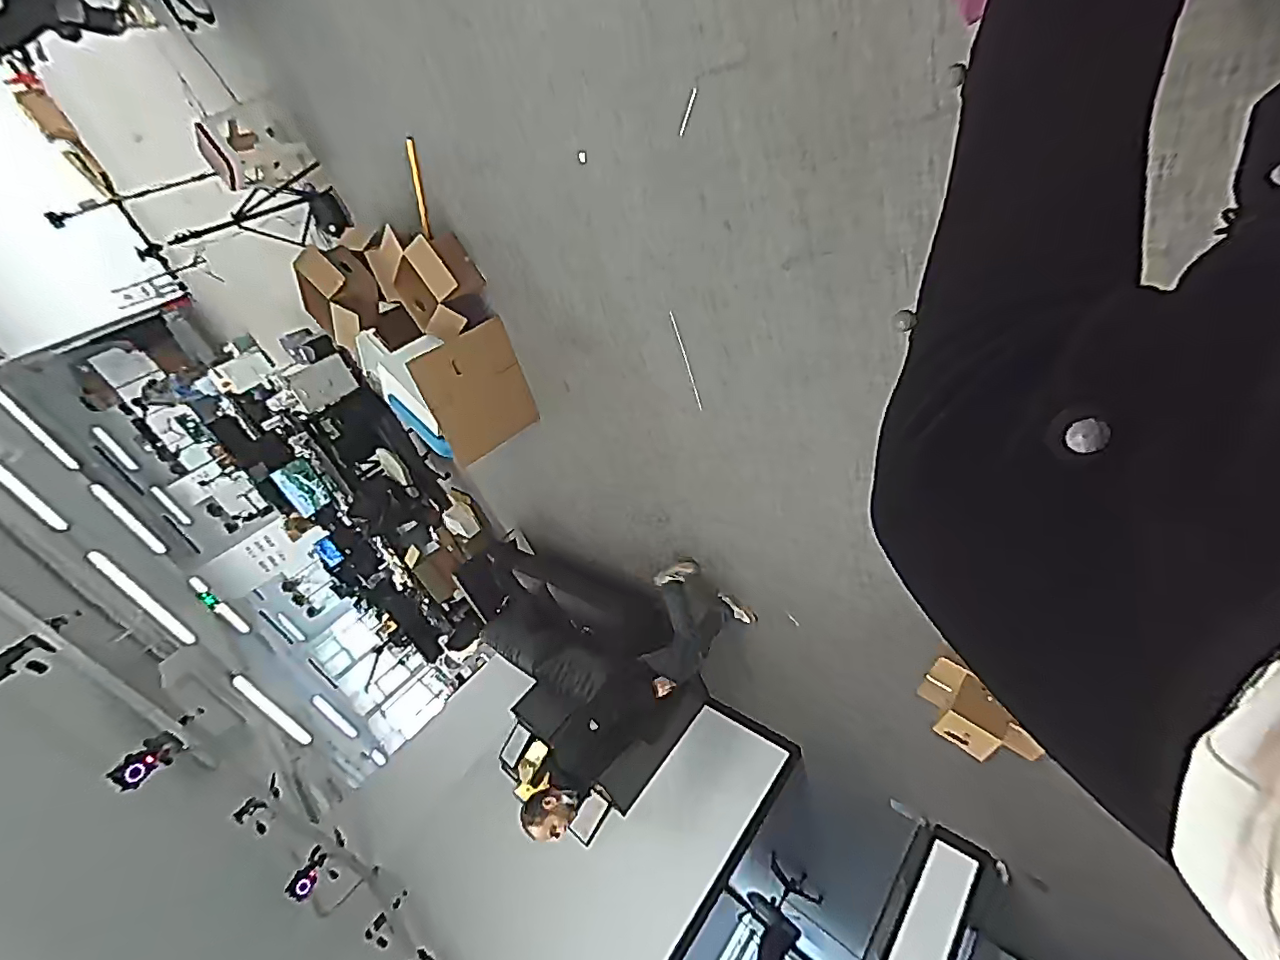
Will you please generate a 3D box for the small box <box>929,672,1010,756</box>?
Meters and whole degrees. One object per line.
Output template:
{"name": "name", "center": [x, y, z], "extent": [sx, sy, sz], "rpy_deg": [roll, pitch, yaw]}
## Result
{"name": "small box", "center": [1.139, 0.803, 1.865], "extent": [0.168, 0.176, 0.179], "rpy_deg": [30, 143, 28]}
